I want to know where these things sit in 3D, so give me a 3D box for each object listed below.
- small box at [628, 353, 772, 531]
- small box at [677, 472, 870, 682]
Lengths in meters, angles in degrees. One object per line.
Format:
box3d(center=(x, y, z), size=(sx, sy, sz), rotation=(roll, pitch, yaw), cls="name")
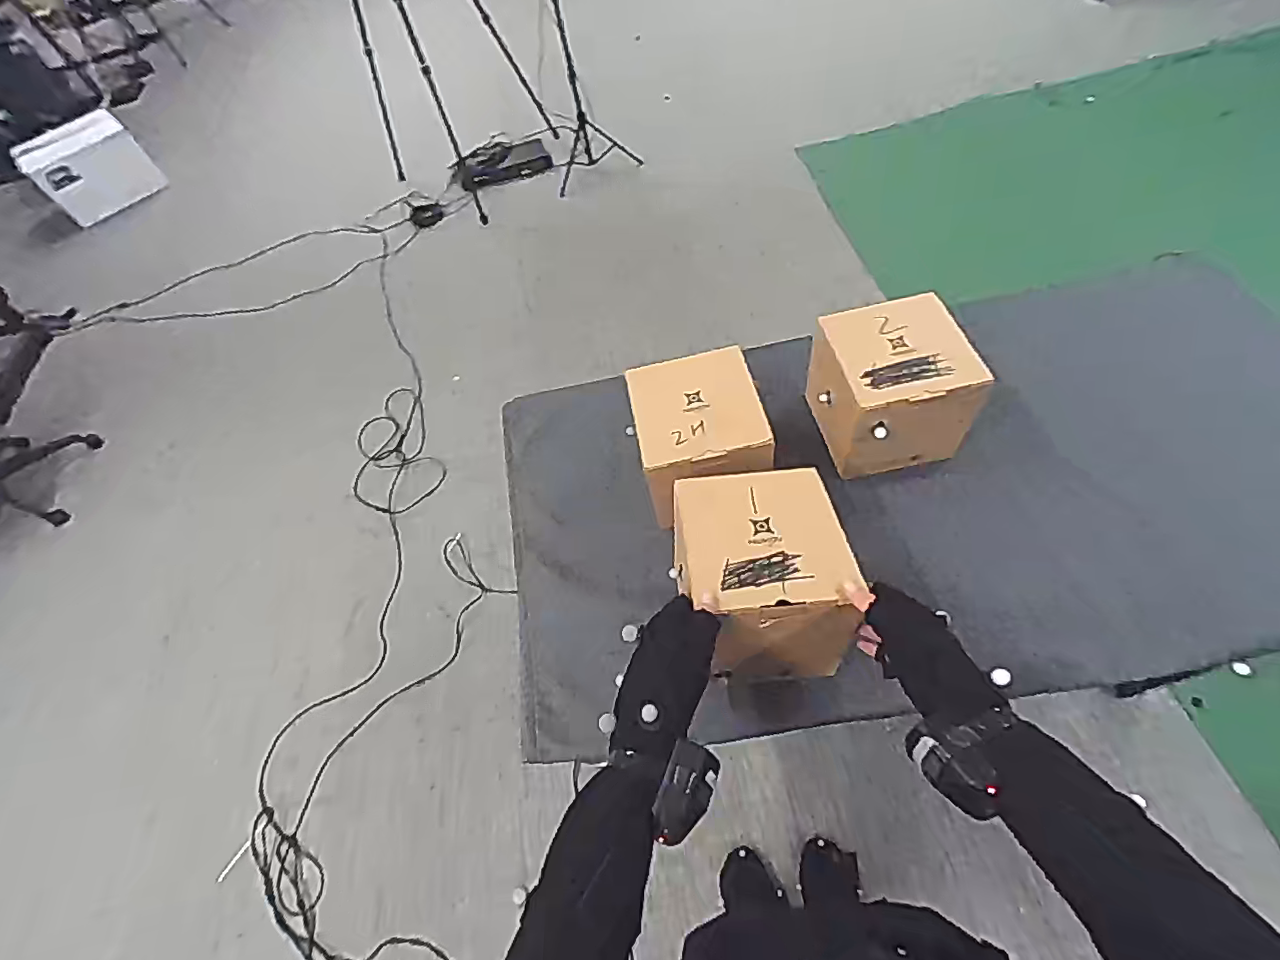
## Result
box3d(center=(0.084, -0.051, 0.782), size=(0.168, 0.176, 0.179), rotation=(-12, 57, 2), cls="small box")
box3d(center=(0.132, 0.114, 0.611), size=(0.168, 0.176, 0.179), rotation=(-4, 46, -1), cls="small box")
